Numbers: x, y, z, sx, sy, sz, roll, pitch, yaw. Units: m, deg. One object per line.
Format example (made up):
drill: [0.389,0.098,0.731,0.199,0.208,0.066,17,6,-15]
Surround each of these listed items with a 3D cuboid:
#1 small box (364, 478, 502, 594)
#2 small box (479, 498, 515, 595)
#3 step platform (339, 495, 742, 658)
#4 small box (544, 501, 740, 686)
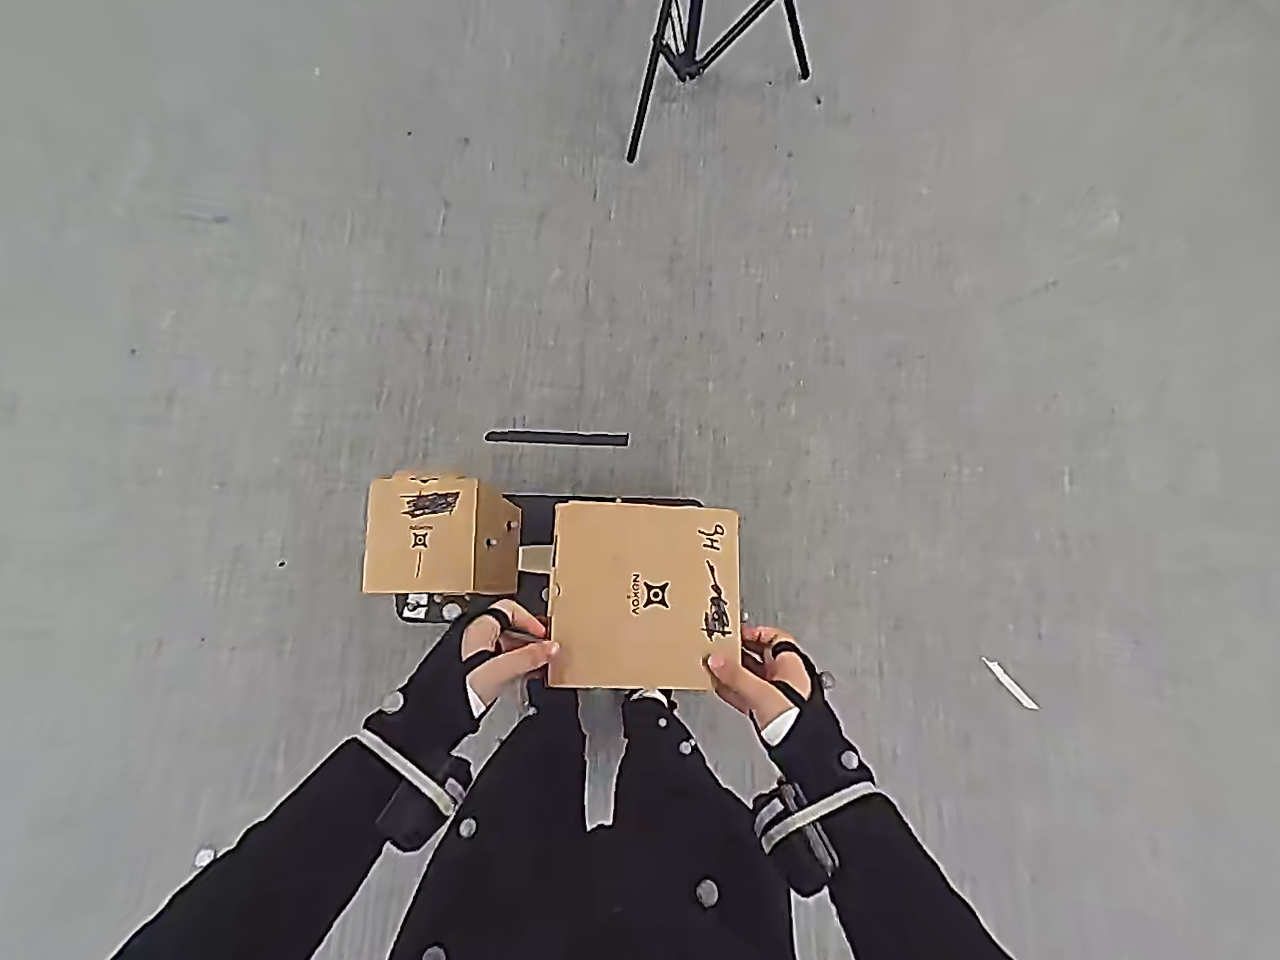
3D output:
small box: [-0.329,0.098,0.893,0.168,0.176,0.179,0,80,-2]
small box: [-0.332,0.132,1.054,0.168,0.176,0.179,1,80,-1]
step platform: [-0.168,0.177,1.015,0.684,0.204,0.286,1,80,-2]
small box: [0.000,0.122,0.572,0.179,0.176,0.168,1,75,-3]
